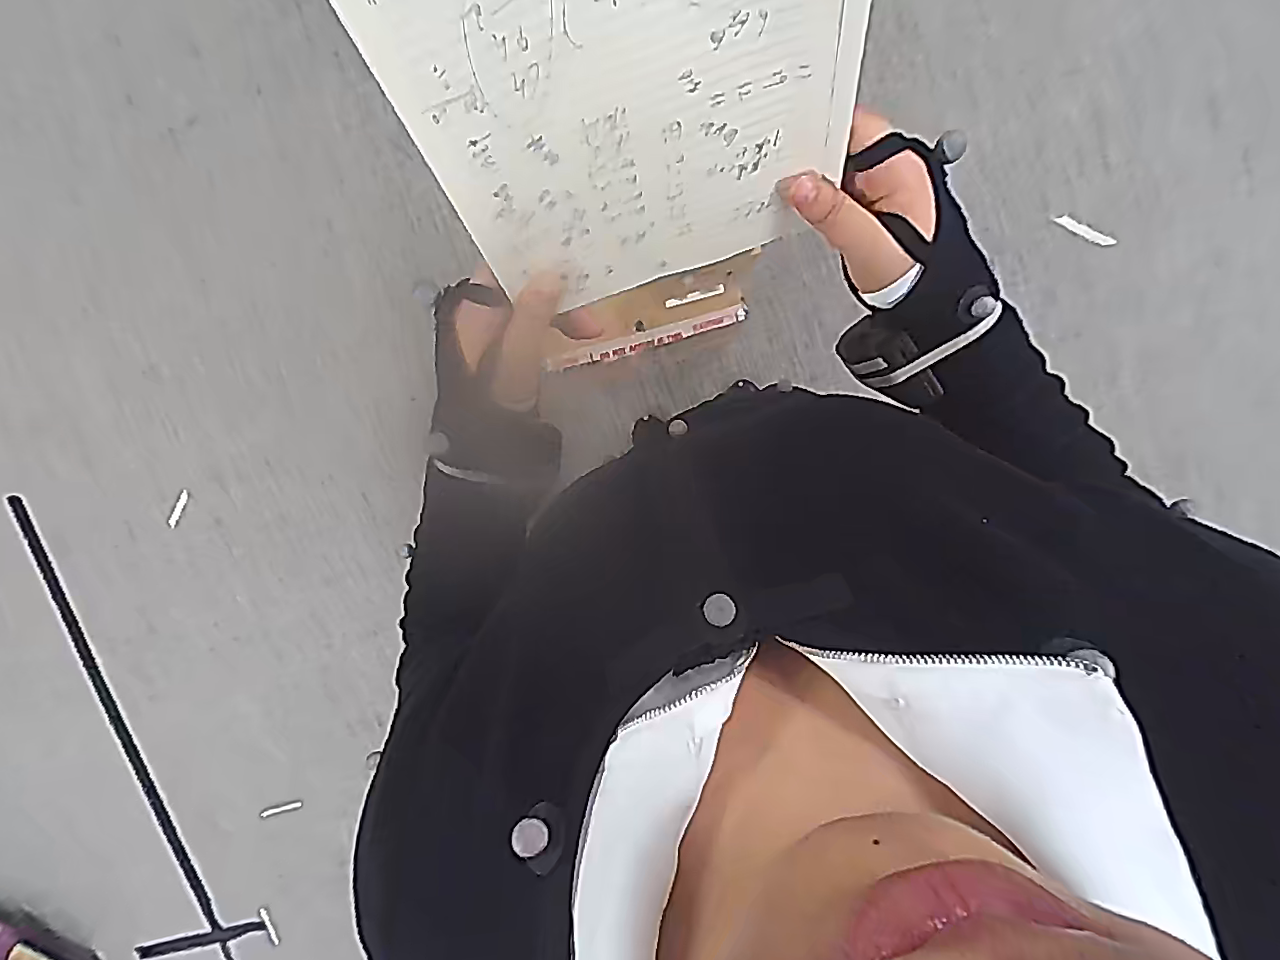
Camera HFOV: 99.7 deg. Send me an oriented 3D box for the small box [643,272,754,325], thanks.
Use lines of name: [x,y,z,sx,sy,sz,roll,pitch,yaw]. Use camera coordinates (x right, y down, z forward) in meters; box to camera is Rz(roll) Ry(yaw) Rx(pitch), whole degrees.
small box: [0.071,-0.367,0.888,0.179,0.176,0.168,-16,97,5]

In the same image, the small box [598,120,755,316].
small box: [0.046,-0.335,0.727,0.168,0.176,0.179,-12,99,4]
